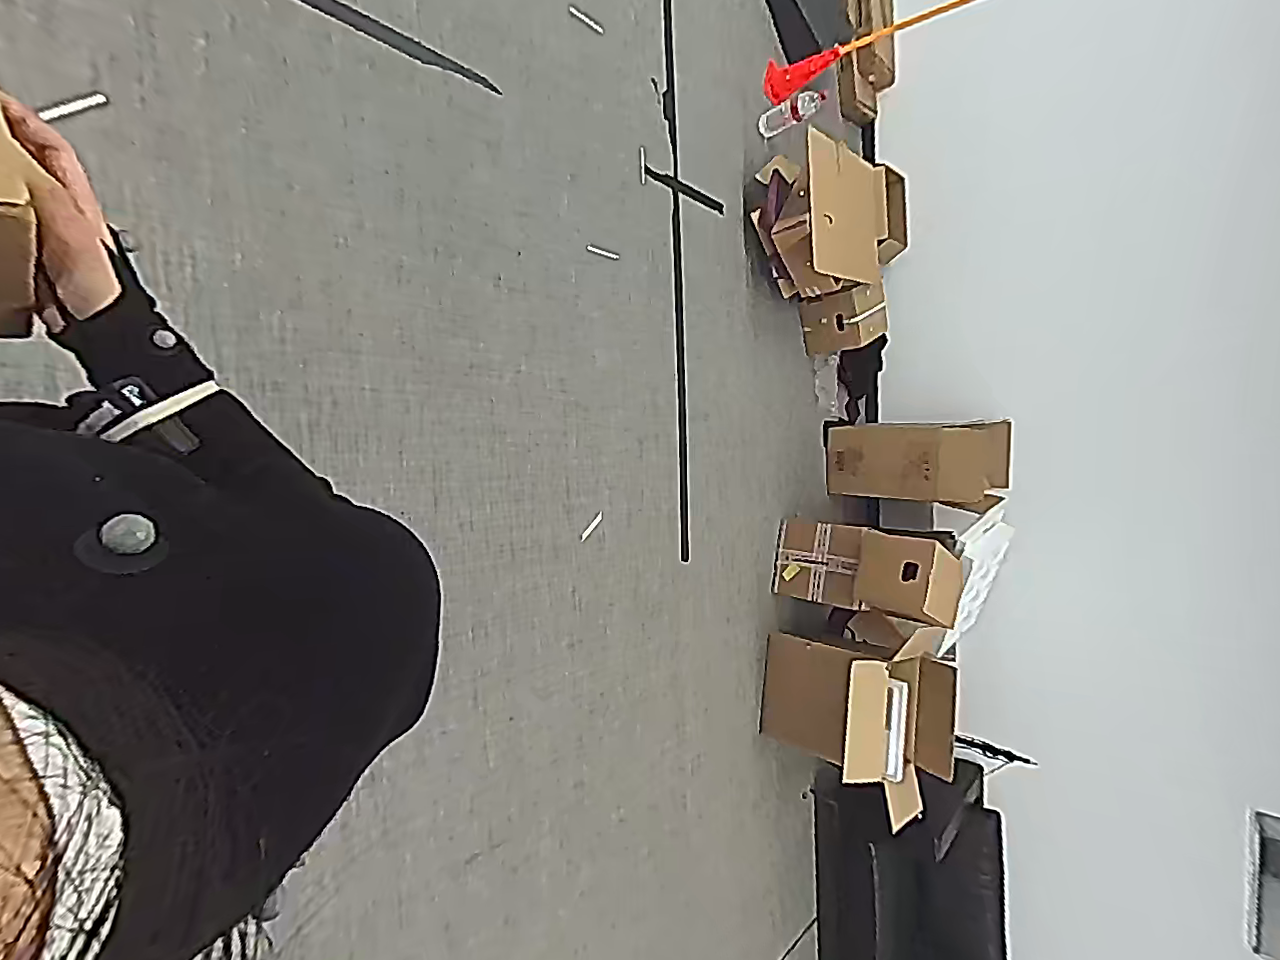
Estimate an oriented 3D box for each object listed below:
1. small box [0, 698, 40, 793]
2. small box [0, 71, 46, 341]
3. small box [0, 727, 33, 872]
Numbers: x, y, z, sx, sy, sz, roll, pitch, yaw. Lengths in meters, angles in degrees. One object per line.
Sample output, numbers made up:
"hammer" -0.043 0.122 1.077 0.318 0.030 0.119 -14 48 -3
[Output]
"small box" -1.153 0.495 0.904 0.179 0.176 0.168 -11 99 -45
"small box" -0.434 -0.176 0.266 0.168 0.176 0.179 -19 93 -50
"small box" -1.030 0.493 0.793 0.179 0.176 0.168 -8 95 -46
